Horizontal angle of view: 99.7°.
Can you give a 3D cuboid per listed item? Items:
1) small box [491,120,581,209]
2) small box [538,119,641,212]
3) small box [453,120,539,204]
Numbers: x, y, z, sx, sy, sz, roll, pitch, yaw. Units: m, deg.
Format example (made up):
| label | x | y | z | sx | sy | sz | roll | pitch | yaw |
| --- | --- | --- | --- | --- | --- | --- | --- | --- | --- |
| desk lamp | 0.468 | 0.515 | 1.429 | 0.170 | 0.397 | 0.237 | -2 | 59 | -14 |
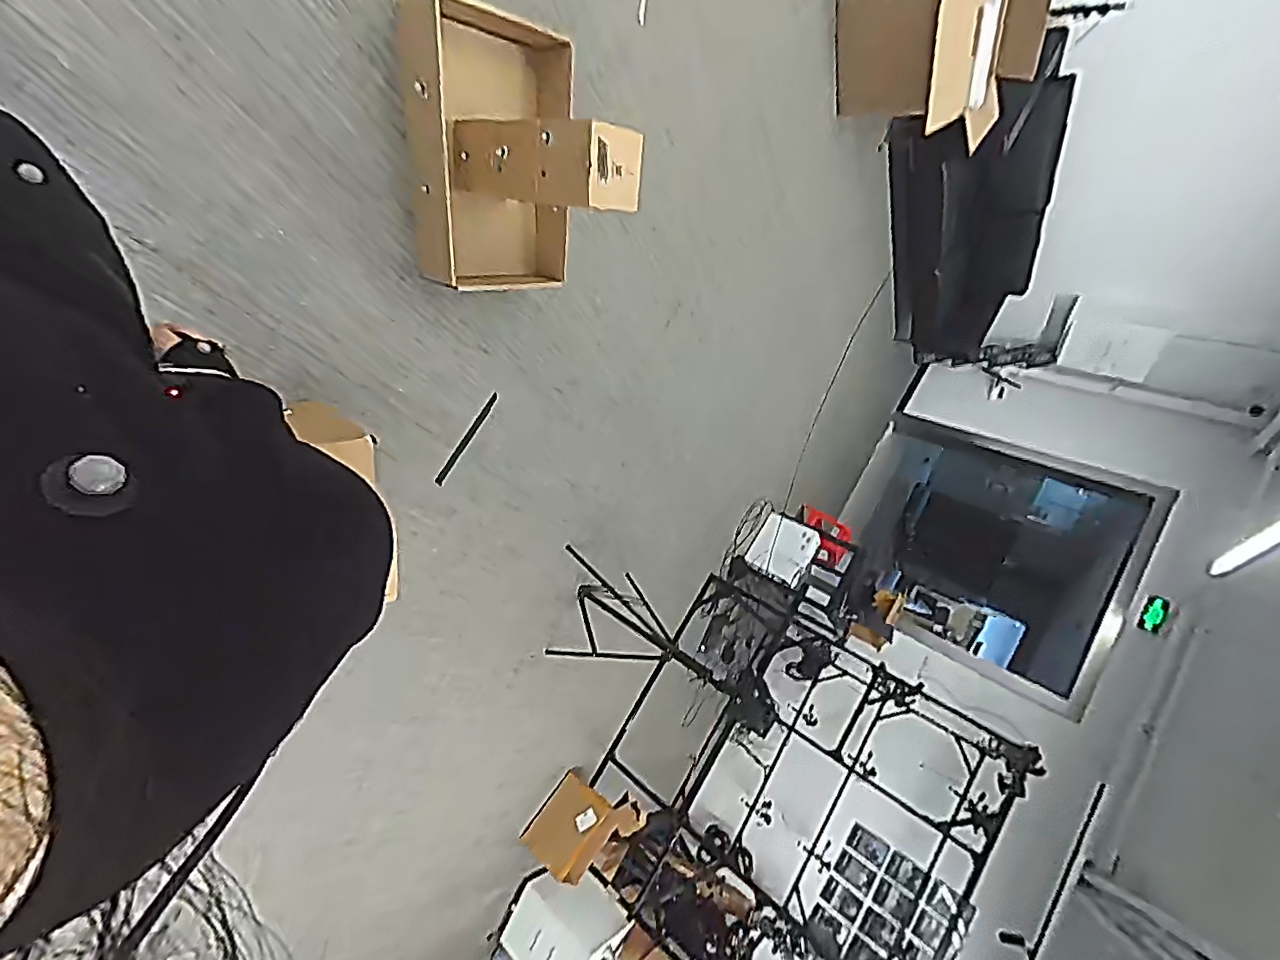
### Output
| label | x | y | z | sx | sy | sz | roll | pitch | yaw |
| --- | --- | --- | --- | --- | --- | --- | --- | --- | --- |
| small box | -0.250 | -0.785 | 1.350 | 0.179 | 0.176 | 0.168 | -21 | 127 | -46 |
| small box | -0.121 | -0.730 | 1.264 | 0.179 | 0.176 | 0.168 | -25 | 129 | -47 |
| small box | -0.374 | -0.844 | 1.437 | 0.179 | 0.176 | 0.168 | -20 | 126 | -47 |
